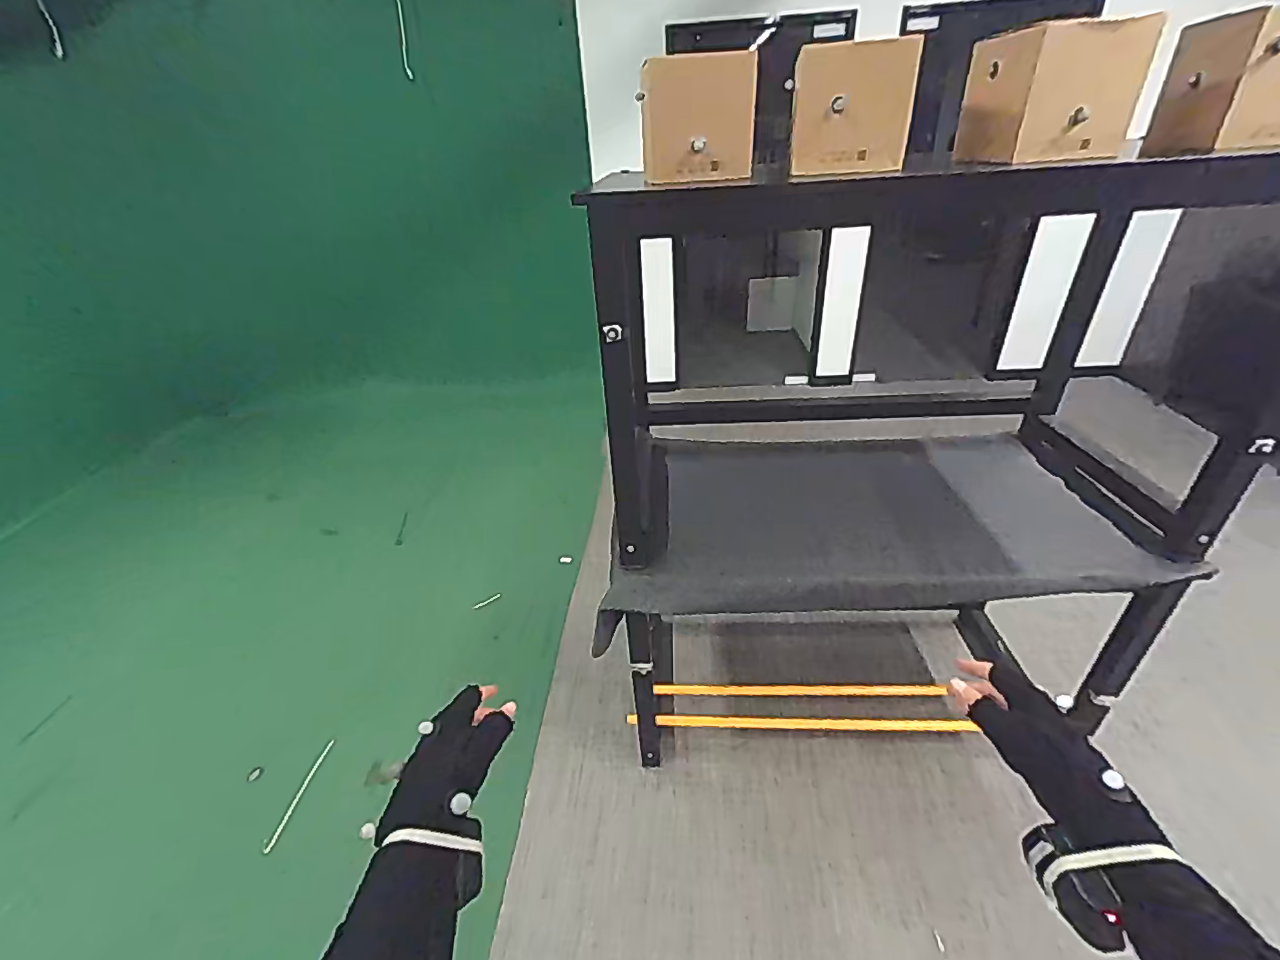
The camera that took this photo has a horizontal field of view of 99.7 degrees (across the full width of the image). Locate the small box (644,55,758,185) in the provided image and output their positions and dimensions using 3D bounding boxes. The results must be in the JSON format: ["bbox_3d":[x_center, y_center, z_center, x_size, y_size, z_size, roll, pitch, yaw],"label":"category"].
[{"bbox_3d":[0.094,-0.599,0.915,0.168,0.176,0.179,-5,32,-1],"label":"small box"}]

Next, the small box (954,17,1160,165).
[{"bbox_3d":[0.628,-0.593,0.845,0.168,0.176,0.179,-4,31,1],"label":"small box"}]
